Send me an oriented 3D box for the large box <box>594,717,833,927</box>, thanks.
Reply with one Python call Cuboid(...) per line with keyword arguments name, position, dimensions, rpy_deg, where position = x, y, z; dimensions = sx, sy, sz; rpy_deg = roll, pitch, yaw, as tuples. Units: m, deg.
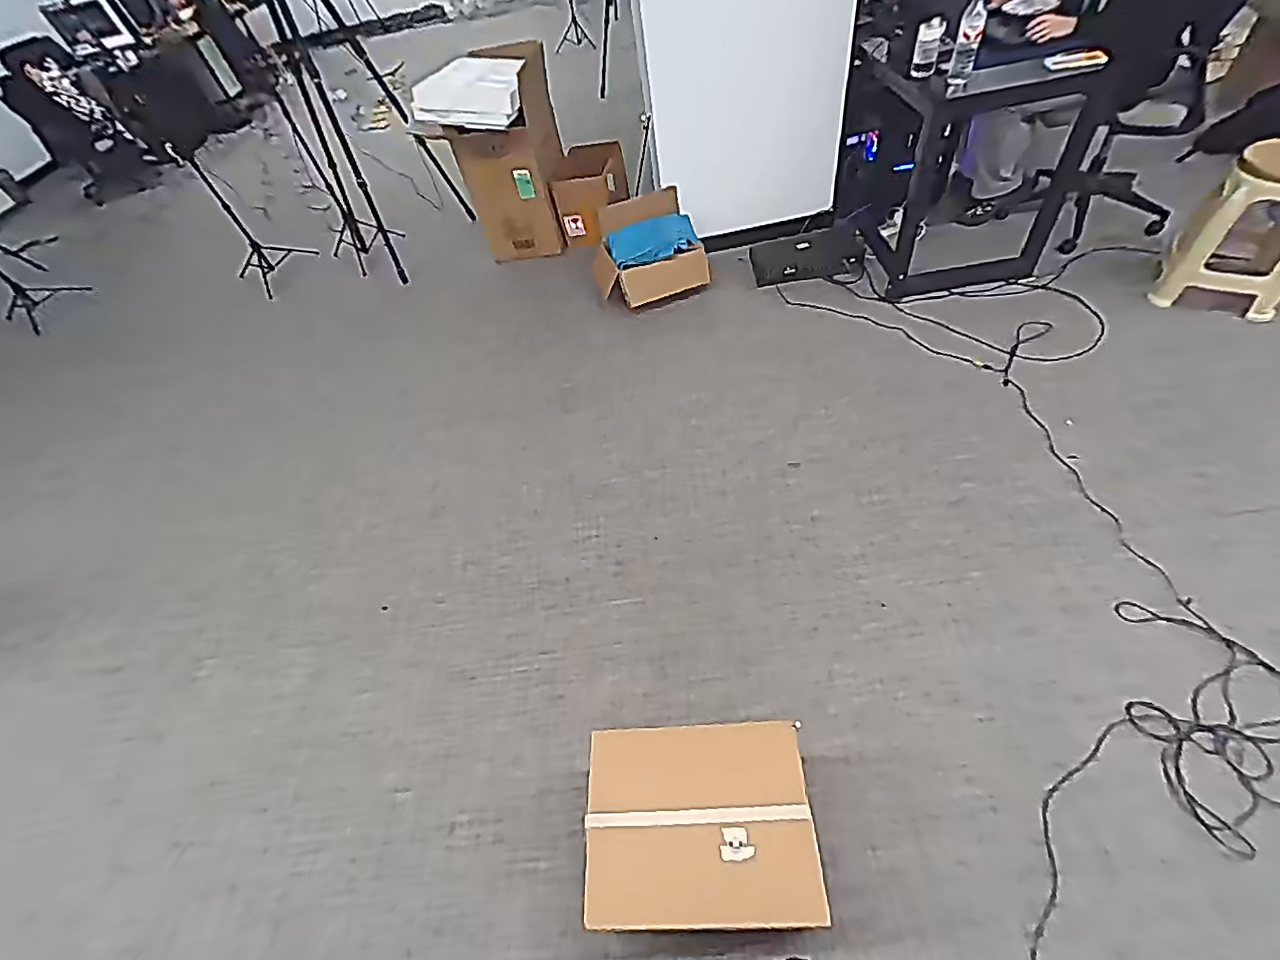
Cuboid(name="large box", position=(0.135, 0.698, 1.095), dimensions=(0.408, 0.320, 0.320), rpy_deg=(-6, 51, 6))
